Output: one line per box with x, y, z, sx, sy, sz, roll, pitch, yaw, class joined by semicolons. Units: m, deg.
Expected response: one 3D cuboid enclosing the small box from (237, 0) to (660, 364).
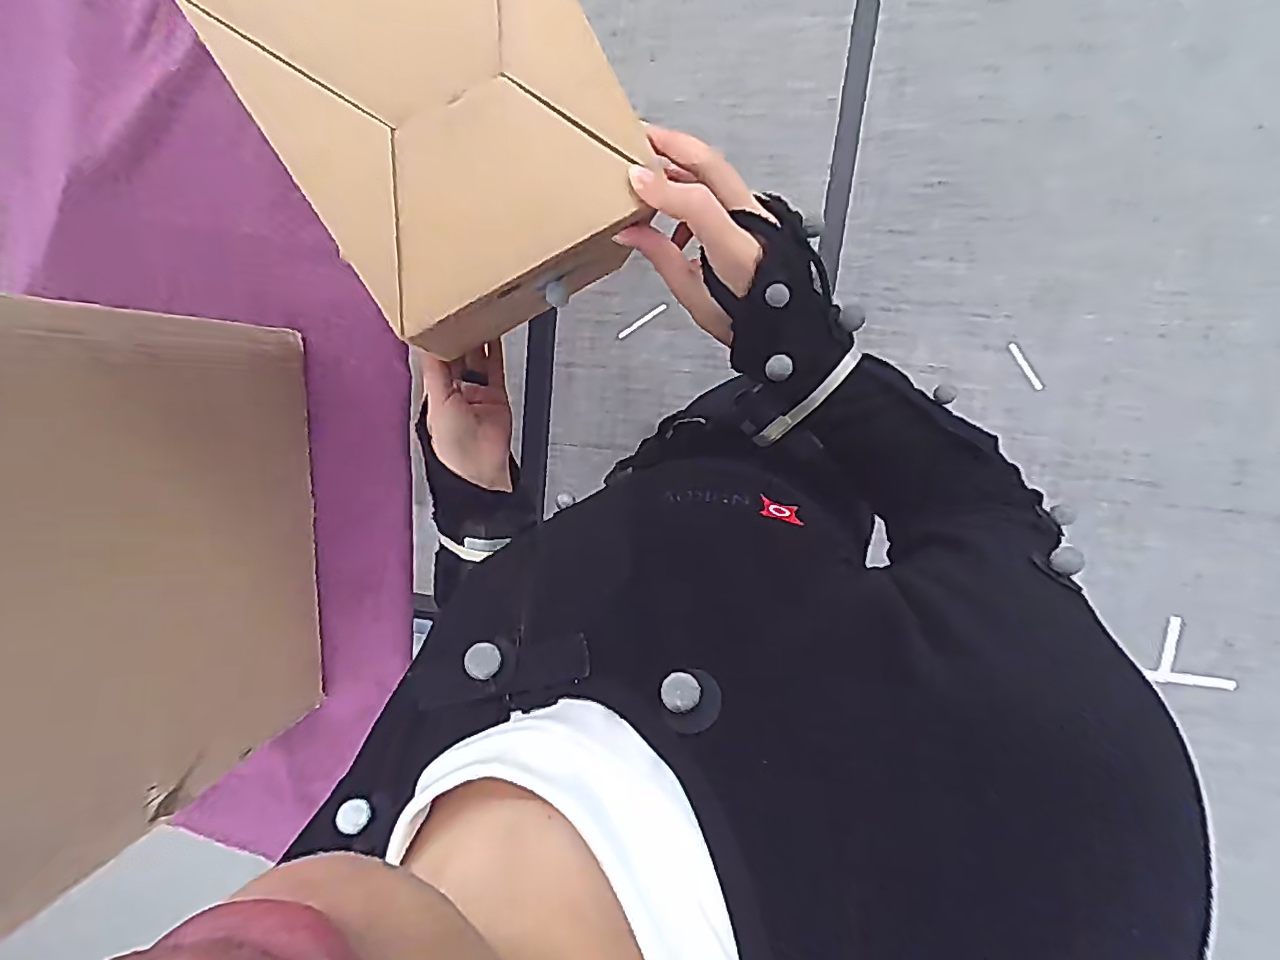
-0.105;-0.196;0.346;0.168;0.176;0.179;-32;102;-5;small box
